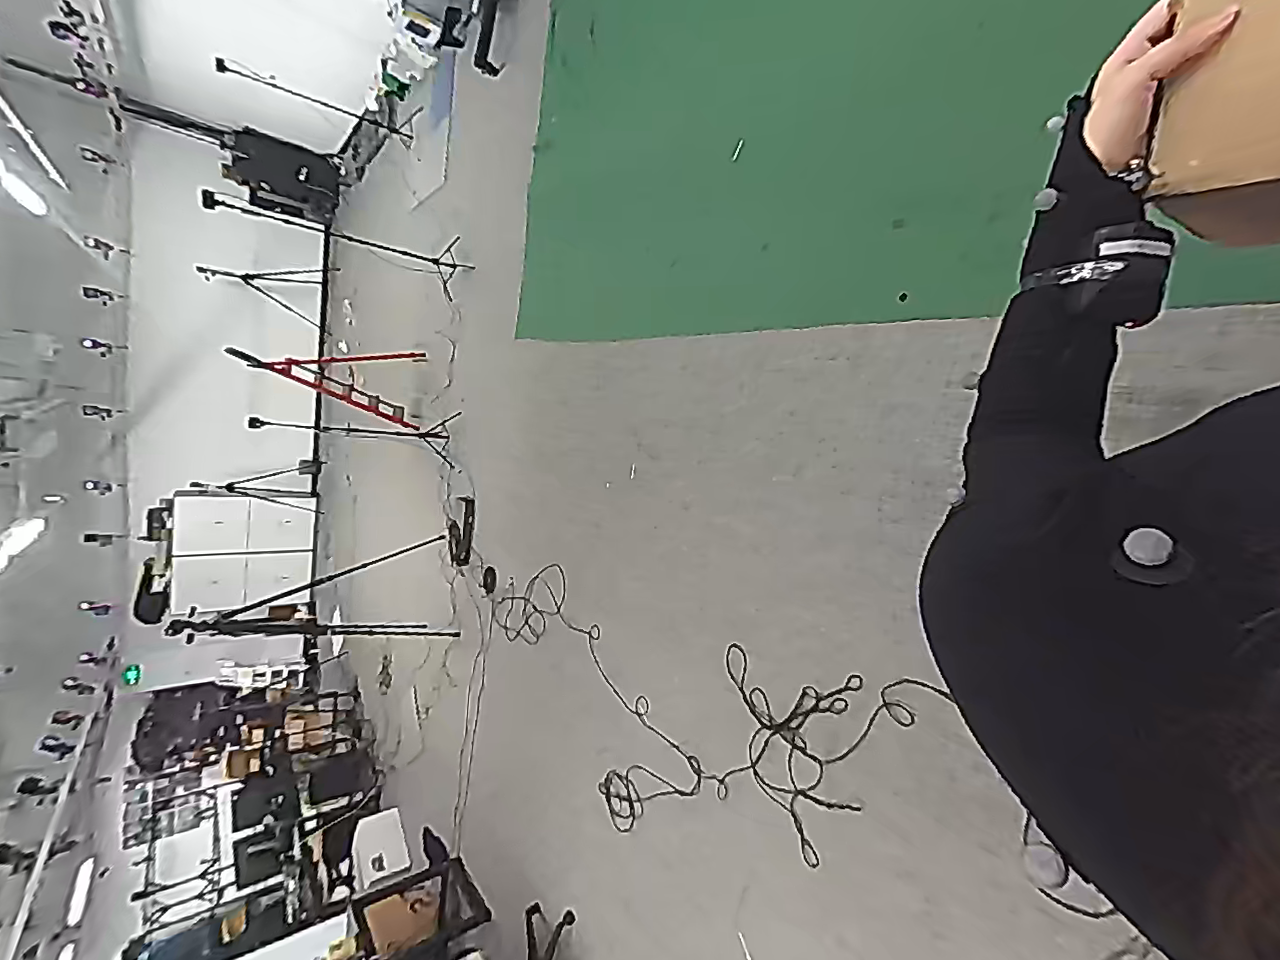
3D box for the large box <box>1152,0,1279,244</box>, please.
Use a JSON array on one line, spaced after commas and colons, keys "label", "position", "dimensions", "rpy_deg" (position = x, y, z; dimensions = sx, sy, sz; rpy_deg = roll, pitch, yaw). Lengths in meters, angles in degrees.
[{"label": "large box", "position": [0.624, -0.343, 0.303], "dimensions": [0.408, 0.320, 0.320], "rpy_deg": [17, 111, 53]}]
